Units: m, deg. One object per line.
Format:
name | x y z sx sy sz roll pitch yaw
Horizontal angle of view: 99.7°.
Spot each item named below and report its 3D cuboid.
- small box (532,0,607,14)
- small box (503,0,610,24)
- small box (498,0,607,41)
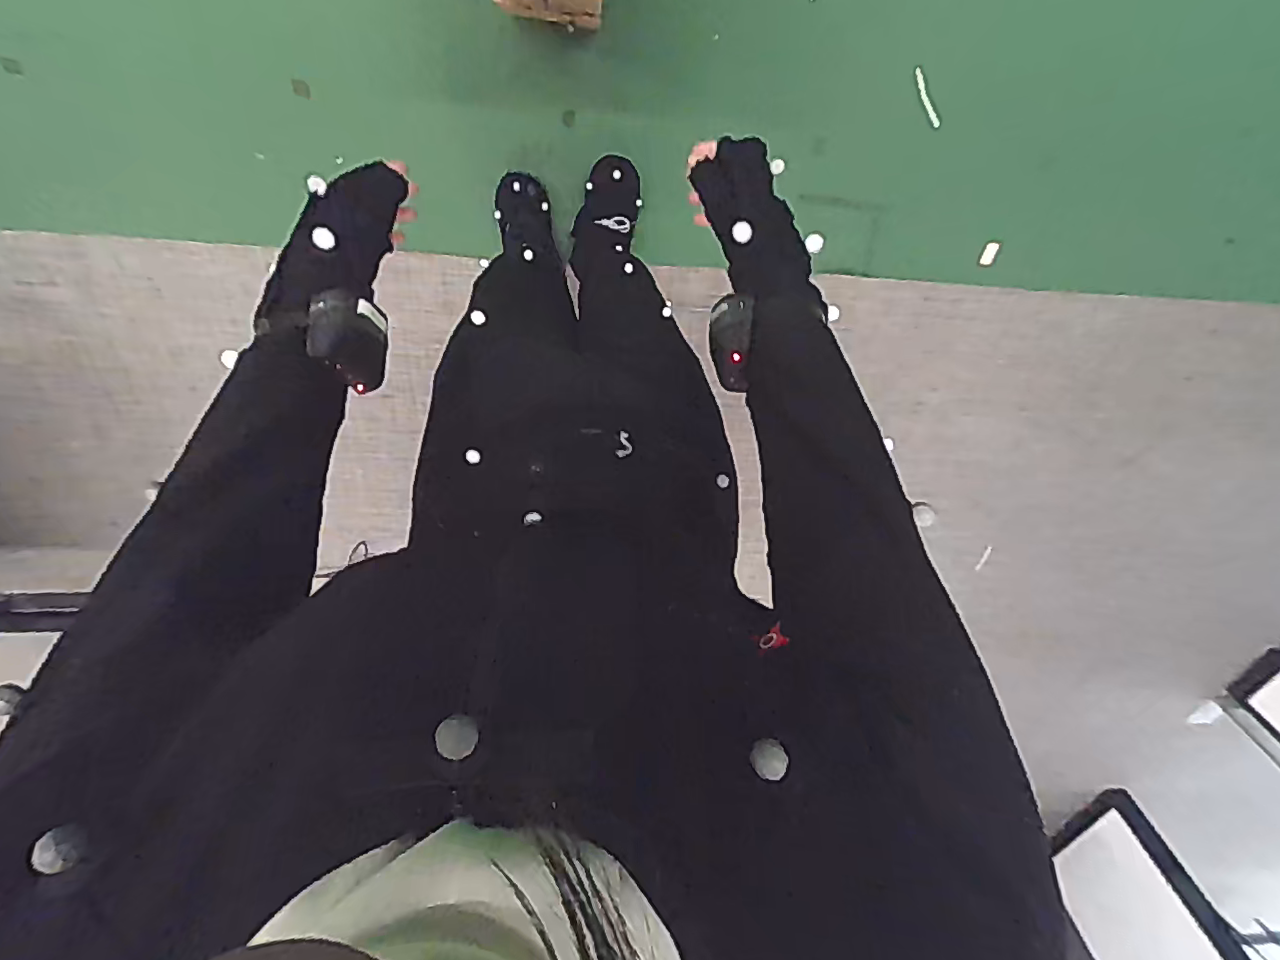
small box | -0.108 -0.644 0.589 0.168 0.176 0.179 6 126 -8
small box | -0.115 -0.740 0.724 0.168 0.176 0.179 5 126 -8
small box | -0.126 -0.816 0.847 0.168 0.176 0.179 5 124 -9
